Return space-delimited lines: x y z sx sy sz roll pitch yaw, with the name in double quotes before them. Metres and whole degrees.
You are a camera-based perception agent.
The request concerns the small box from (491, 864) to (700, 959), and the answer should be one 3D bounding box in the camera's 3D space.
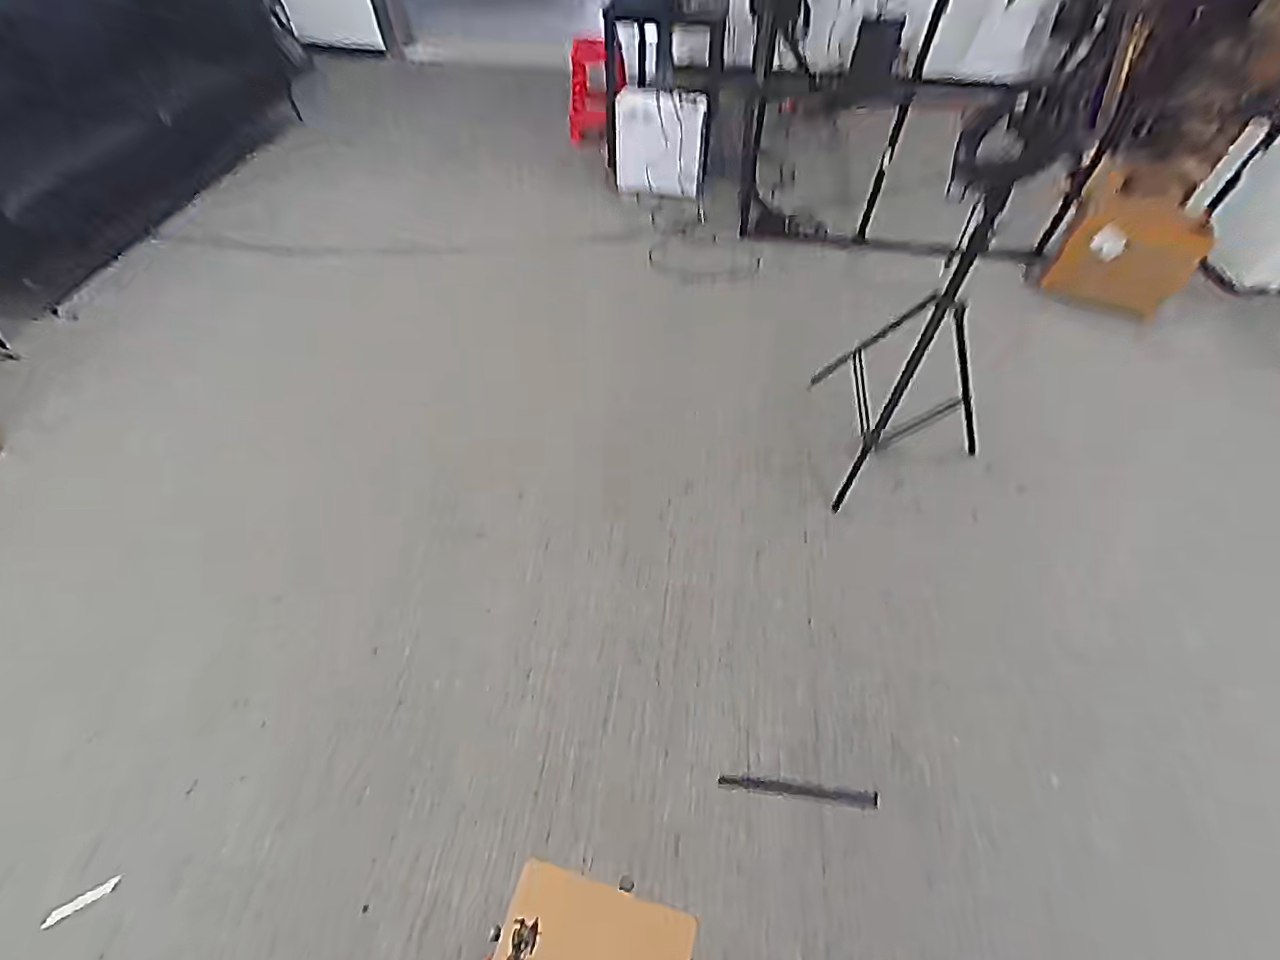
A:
"small box" -0.055 0.493 0.522 0.179 0.176 0.168 15 54 7
